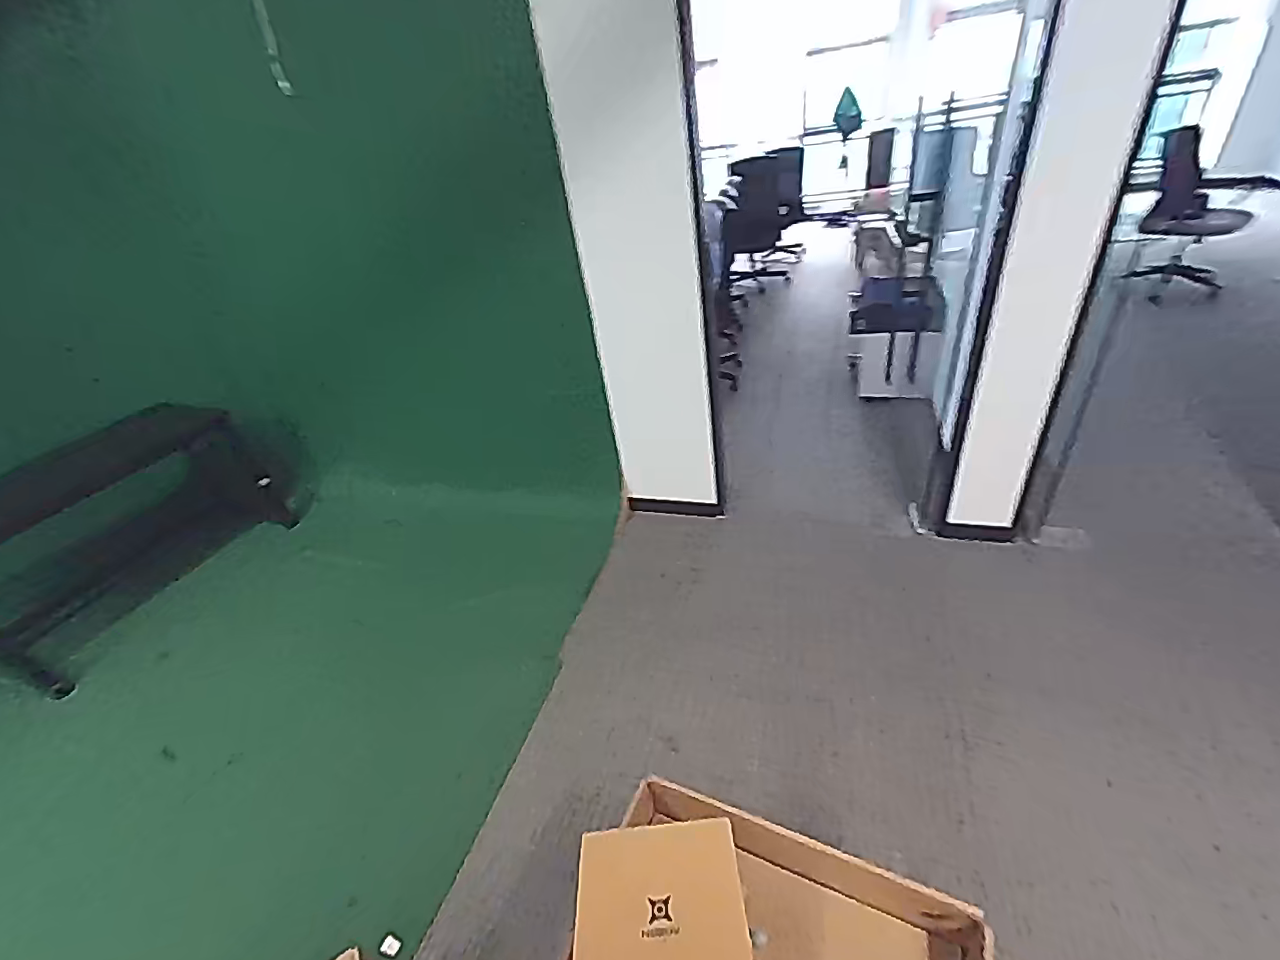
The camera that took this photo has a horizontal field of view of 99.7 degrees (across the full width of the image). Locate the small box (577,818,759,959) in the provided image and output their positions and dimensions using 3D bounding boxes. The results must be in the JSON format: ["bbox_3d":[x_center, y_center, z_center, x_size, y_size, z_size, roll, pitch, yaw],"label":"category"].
[{"bbox_3d":[0.031,0.485,0.547,0.168,0.176,0.179,-7,26,1],"label":"small box"}]
